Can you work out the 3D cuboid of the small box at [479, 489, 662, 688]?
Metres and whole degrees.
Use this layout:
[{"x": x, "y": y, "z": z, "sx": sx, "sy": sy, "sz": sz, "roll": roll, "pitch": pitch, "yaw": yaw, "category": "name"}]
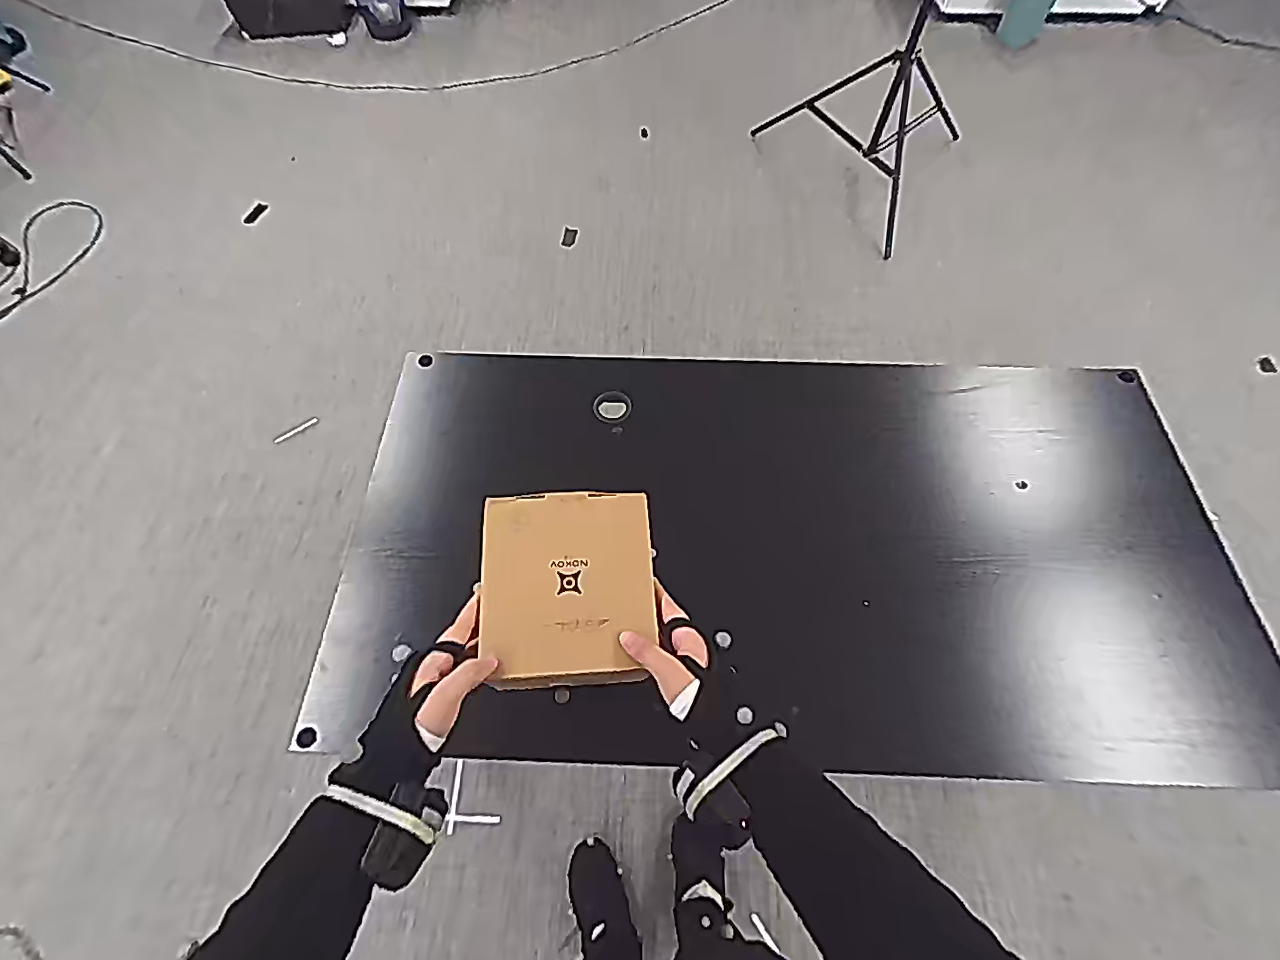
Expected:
[{"x": -0.074, "y": 0.123, "z": 0.587, "sx": 0.168, "sy": 0.176, "sz": 0.179, "roll": -2, "pitch": 67, "yaw": -6, "category": "small box"}]
